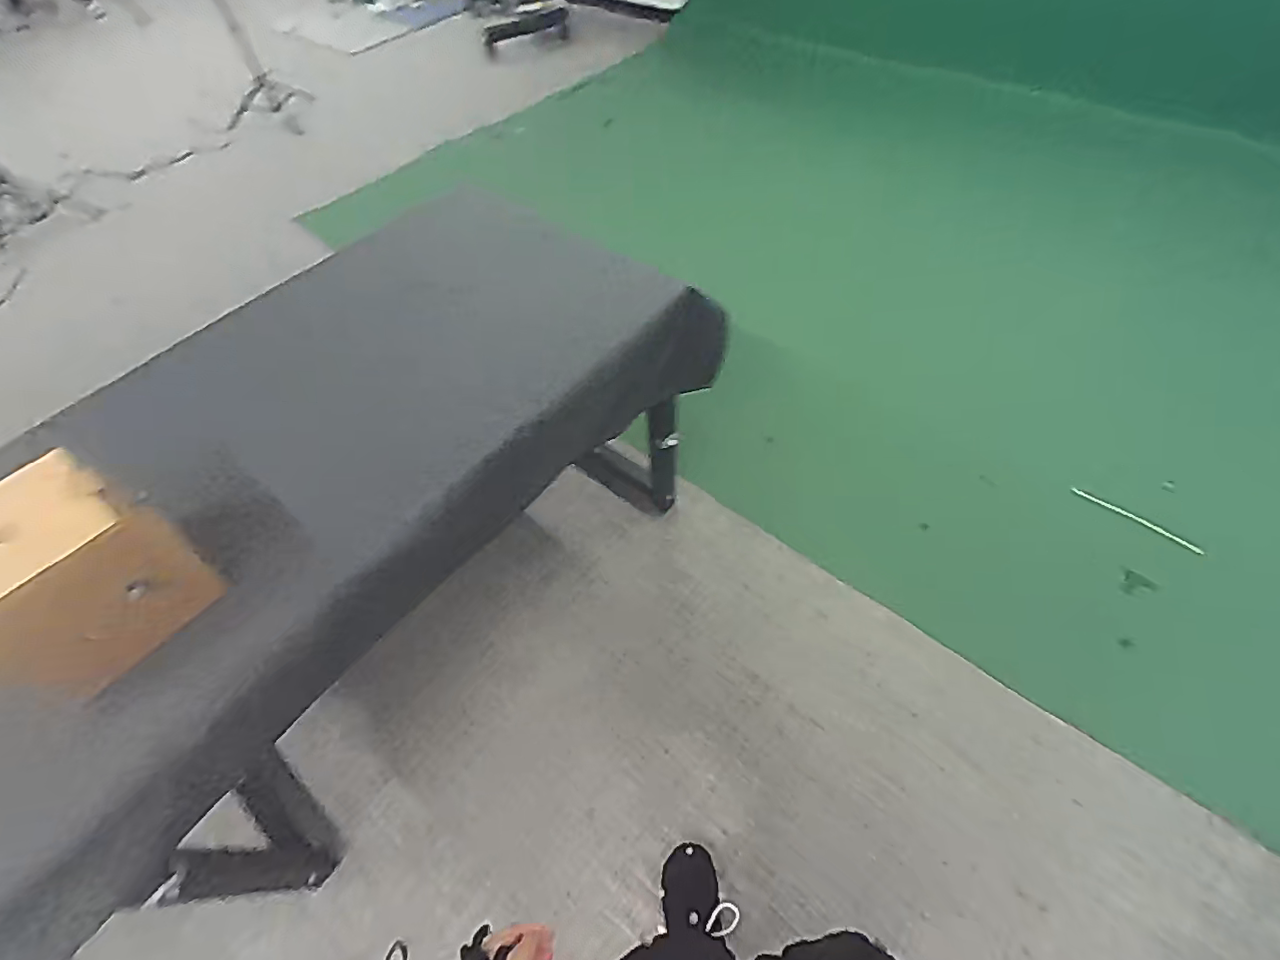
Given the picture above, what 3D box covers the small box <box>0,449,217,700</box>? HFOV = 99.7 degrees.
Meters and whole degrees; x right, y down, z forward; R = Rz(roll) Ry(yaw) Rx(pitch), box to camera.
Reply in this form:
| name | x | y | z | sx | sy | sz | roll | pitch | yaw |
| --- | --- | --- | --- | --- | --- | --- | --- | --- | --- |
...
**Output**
| name | x | y | z | sx | sy | sz | roll | pitch | yaw |
| --- | --- | --- | --- | --- | --- | --- | --- | --- | --- |
| small box | -0.617 | 0.106 | 0.592 | 0.168 | 0.176 | 0.179 | 31 | 63 | 24 |
